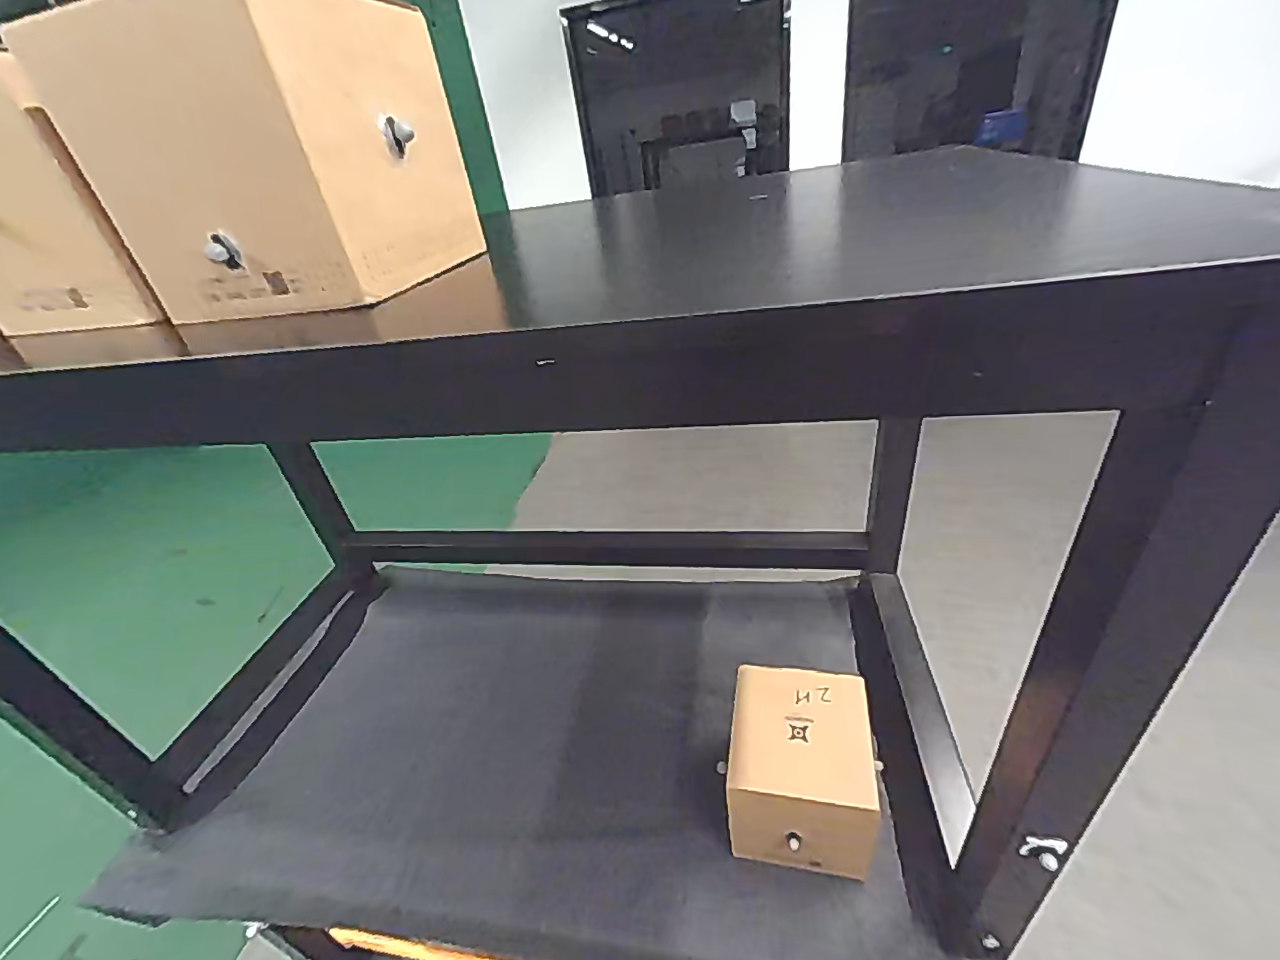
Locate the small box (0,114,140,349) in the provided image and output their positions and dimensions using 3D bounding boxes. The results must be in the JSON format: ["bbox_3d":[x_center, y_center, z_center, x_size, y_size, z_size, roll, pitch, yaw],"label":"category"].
[{"bbox_3d":[-0.619,-0.219,0.489,0.168,0.176,0.179,0,34,14],"label":"small box"}]

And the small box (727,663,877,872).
[{"bbox_3d":[0.210,0.373,0.711,0.168,0.176,0.179,1,33,16],"label":"small box"}]
